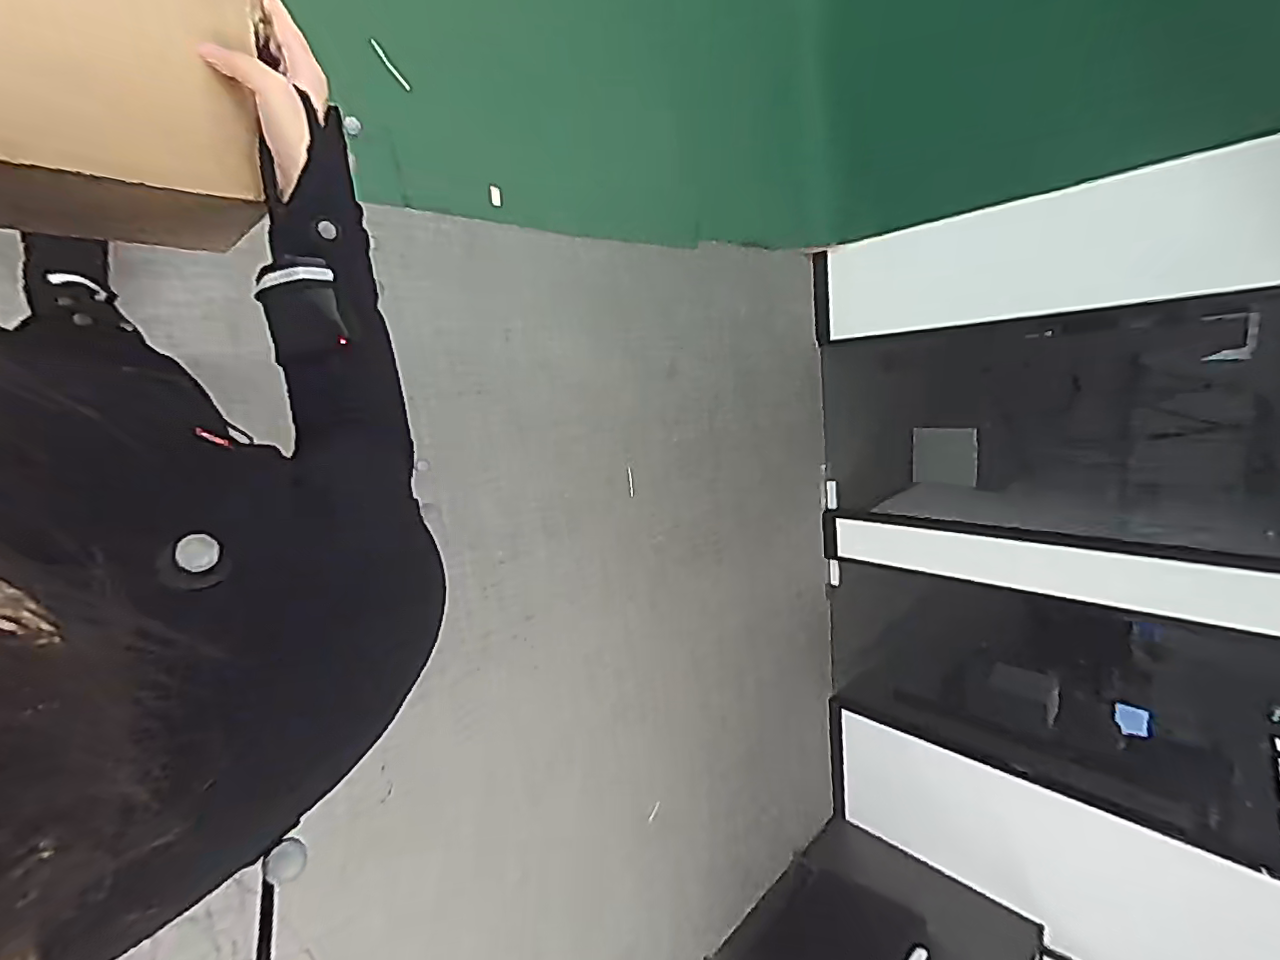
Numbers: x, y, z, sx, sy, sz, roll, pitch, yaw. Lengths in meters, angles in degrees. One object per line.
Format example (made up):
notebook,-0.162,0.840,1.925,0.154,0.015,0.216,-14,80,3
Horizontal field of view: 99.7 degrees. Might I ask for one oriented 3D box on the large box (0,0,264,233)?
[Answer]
large box,-0.539,-0.374,0.370,0.408,0.320,0.320,-11,108,-40
